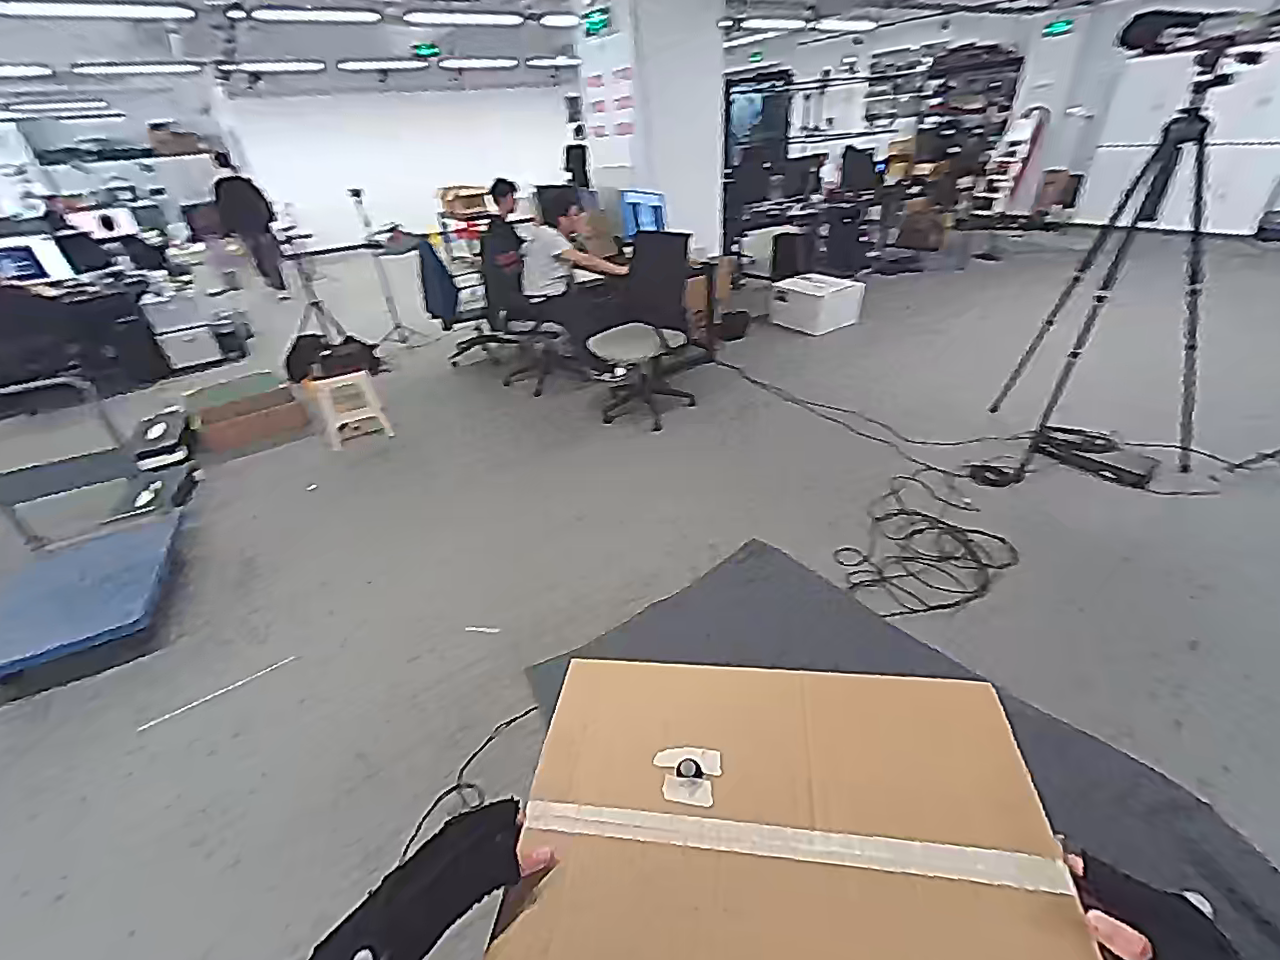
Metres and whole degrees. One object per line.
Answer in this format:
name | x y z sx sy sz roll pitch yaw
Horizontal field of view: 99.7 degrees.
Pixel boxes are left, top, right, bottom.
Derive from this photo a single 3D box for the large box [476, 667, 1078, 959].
large box | 0.113 0.398 0.501 0.408 0.320 0.320 -2 37 13
